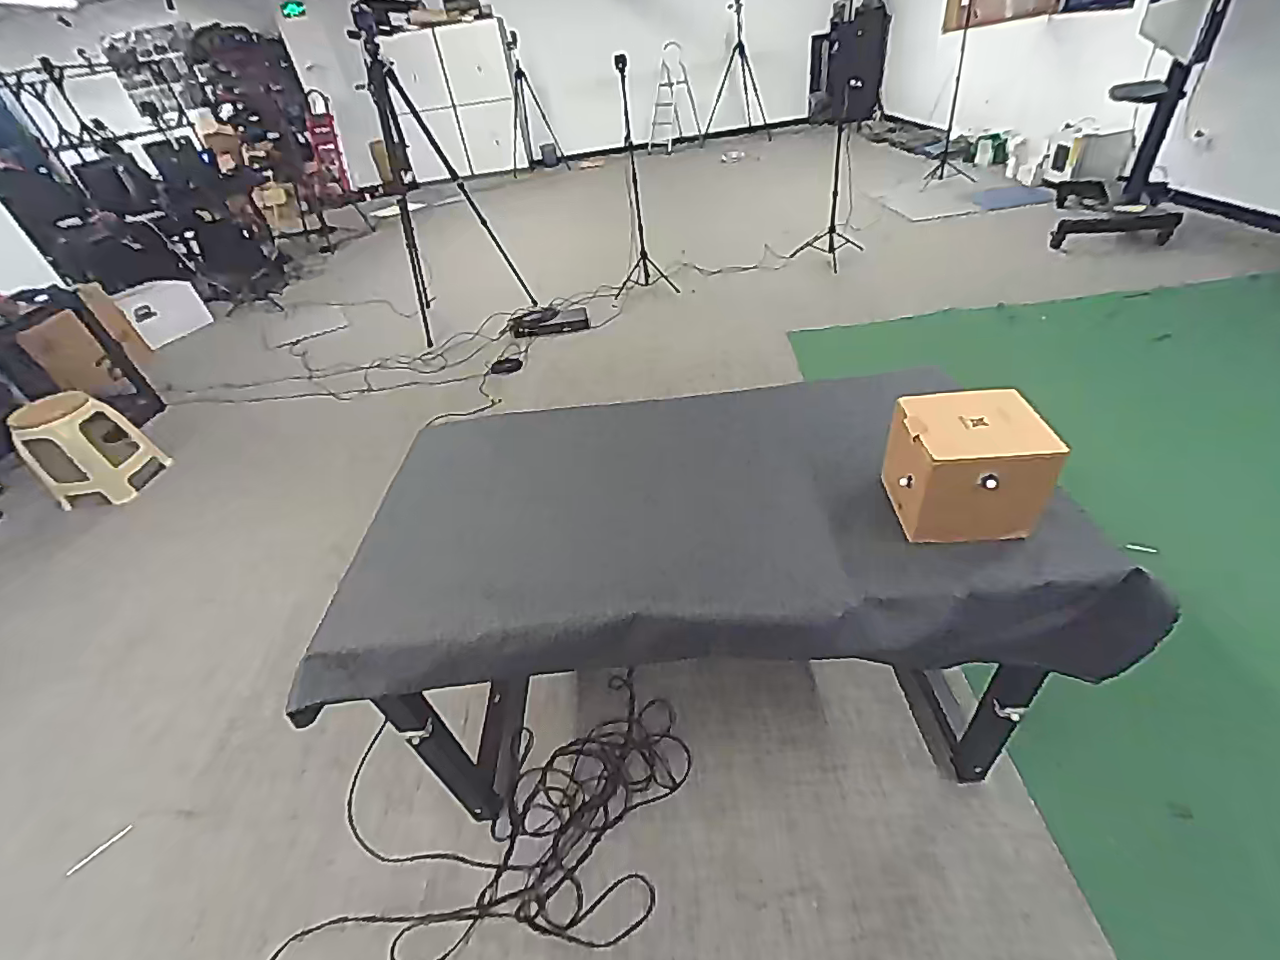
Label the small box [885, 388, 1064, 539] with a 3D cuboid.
[{"bbox_3d":[0.491,-0.022,0.833,0.179,0.176,0.168,-3,40,7],"label":"small box"}]
